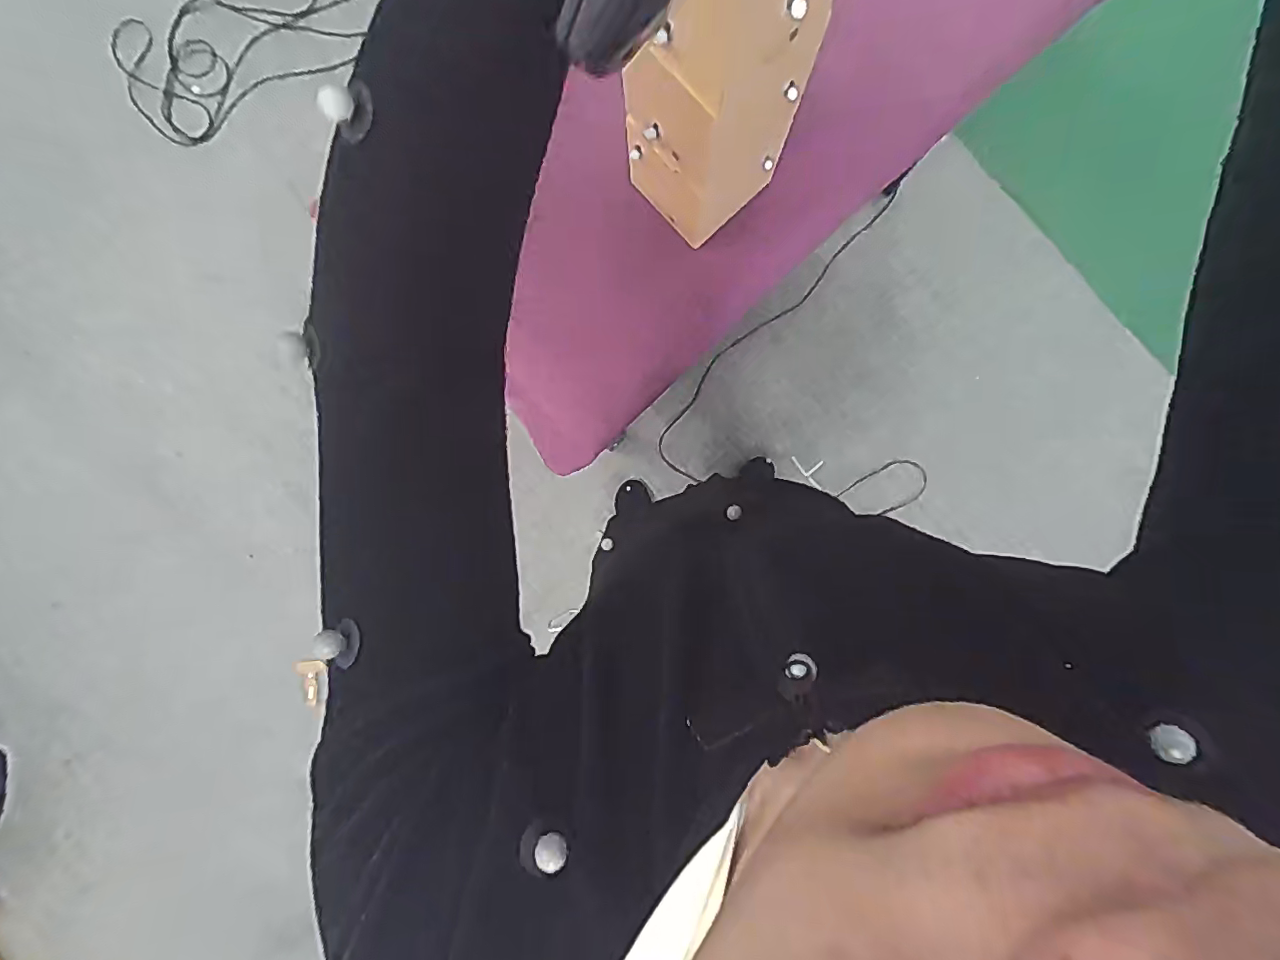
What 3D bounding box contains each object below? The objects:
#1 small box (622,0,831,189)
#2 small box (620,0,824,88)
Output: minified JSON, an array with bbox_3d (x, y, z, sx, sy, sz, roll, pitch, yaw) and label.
[{"bbox_3d":[0.096,-0.517,0.673,0.179,0.176,0.168,-42,88,1],"label":"small box"},{"bbox_3d":[0.085,-0.523,0.511,0.168,0.176,0.179,-43,89,0],"label":"small box"}]
